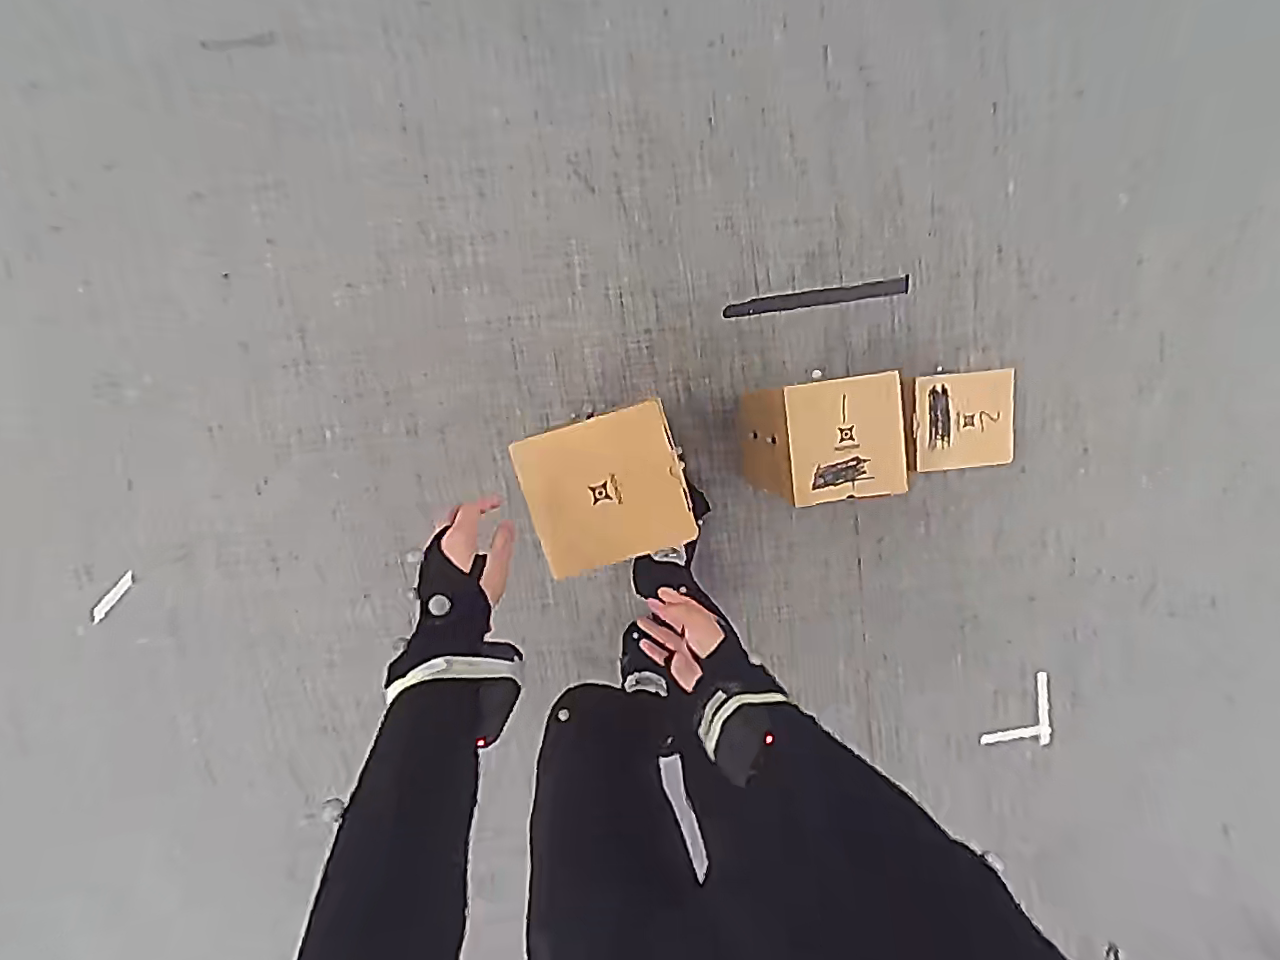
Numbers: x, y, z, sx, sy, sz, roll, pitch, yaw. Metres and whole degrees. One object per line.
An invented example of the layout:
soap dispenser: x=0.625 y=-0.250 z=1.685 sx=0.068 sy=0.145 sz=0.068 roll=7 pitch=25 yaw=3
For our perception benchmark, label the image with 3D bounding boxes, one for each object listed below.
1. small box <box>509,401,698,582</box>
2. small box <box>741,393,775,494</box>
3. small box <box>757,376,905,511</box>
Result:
small box: x=-0.040 y=0.005 z=0.677 sx=0.179 sy=0.176 sz=0.168 roll=-17 pitch=99 yaw=1
small box: x=0.286 y=-0.078 z=1.002 sx=0.168 sy=0.176 sz=0.179 roll=-4 pitch=99 yaw=0
small box: x=0.286 y=-0.062 z=0.837 sx=0.168 sy=0.176 sz=0.179 roll=-8 pitch=98 yaw=0
